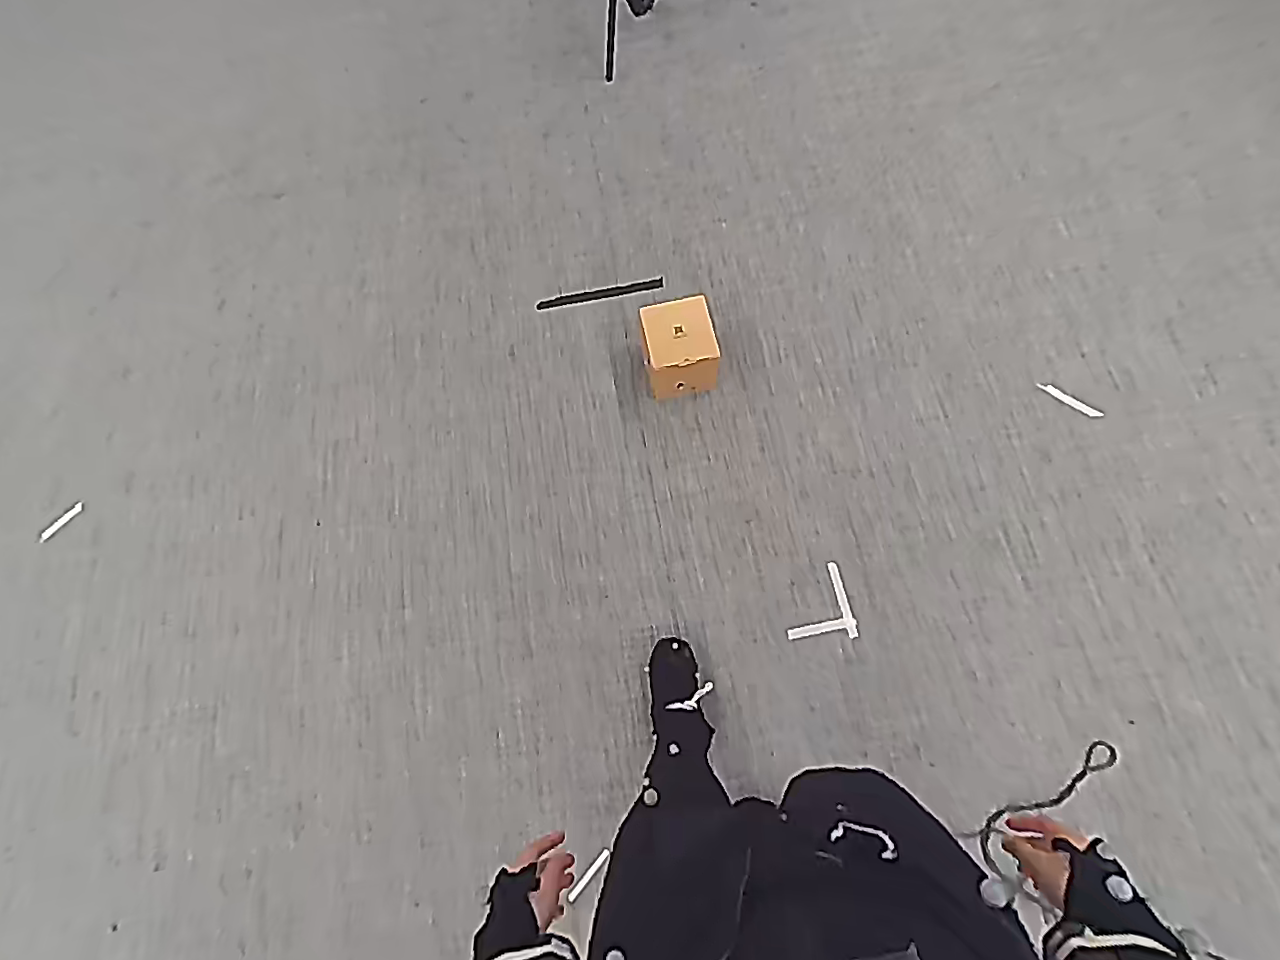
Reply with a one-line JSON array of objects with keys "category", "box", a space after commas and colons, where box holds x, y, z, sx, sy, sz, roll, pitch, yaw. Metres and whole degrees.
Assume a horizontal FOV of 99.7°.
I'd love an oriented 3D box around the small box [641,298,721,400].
[{"category": "small box", "box": [0.099, -0.327, 1.374, 0.168, 0.176, 0.179, -12, 73, -1]}]
